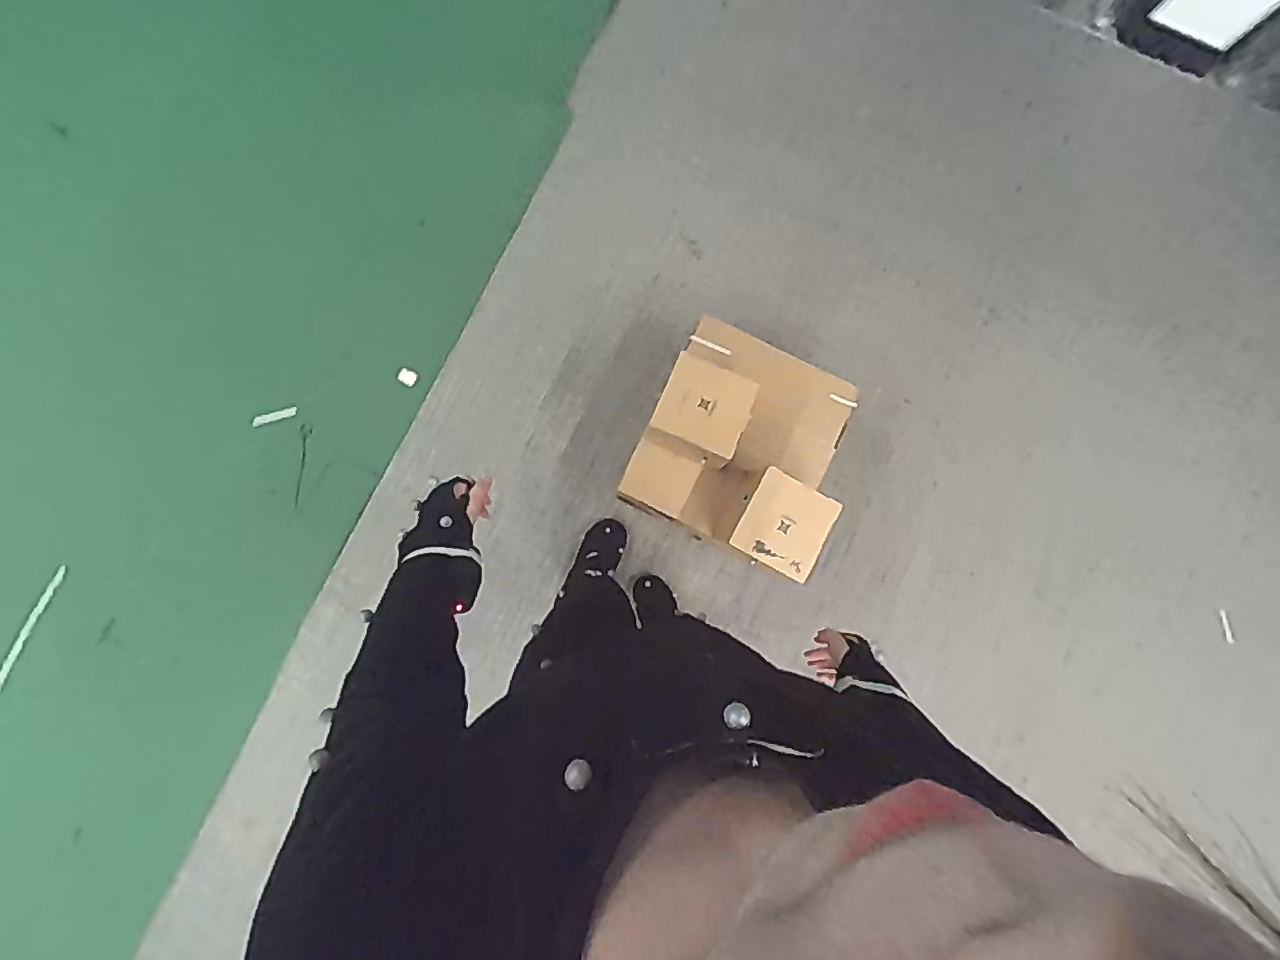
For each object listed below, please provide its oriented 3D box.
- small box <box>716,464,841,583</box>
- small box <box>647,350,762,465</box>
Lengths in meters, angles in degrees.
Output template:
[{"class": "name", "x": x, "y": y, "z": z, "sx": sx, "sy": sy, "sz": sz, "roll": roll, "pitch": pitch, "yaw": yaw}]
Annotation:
[{"class": "small box", "x": 0.272, "y": 0.089, "z": 1.107, "sx": 0.168, "sy": 0.176, "sz": 0.179, "roll": 30, "pitch": 84, "yaw": 0}, {"class": "small box", "x": 0.126, "y": -0.140, "z": 1.127, "sx": 0.179, "sy": 0.176, "sz": 0.168, "roll": 25, "pitch": 83, "yaw": 2}]
